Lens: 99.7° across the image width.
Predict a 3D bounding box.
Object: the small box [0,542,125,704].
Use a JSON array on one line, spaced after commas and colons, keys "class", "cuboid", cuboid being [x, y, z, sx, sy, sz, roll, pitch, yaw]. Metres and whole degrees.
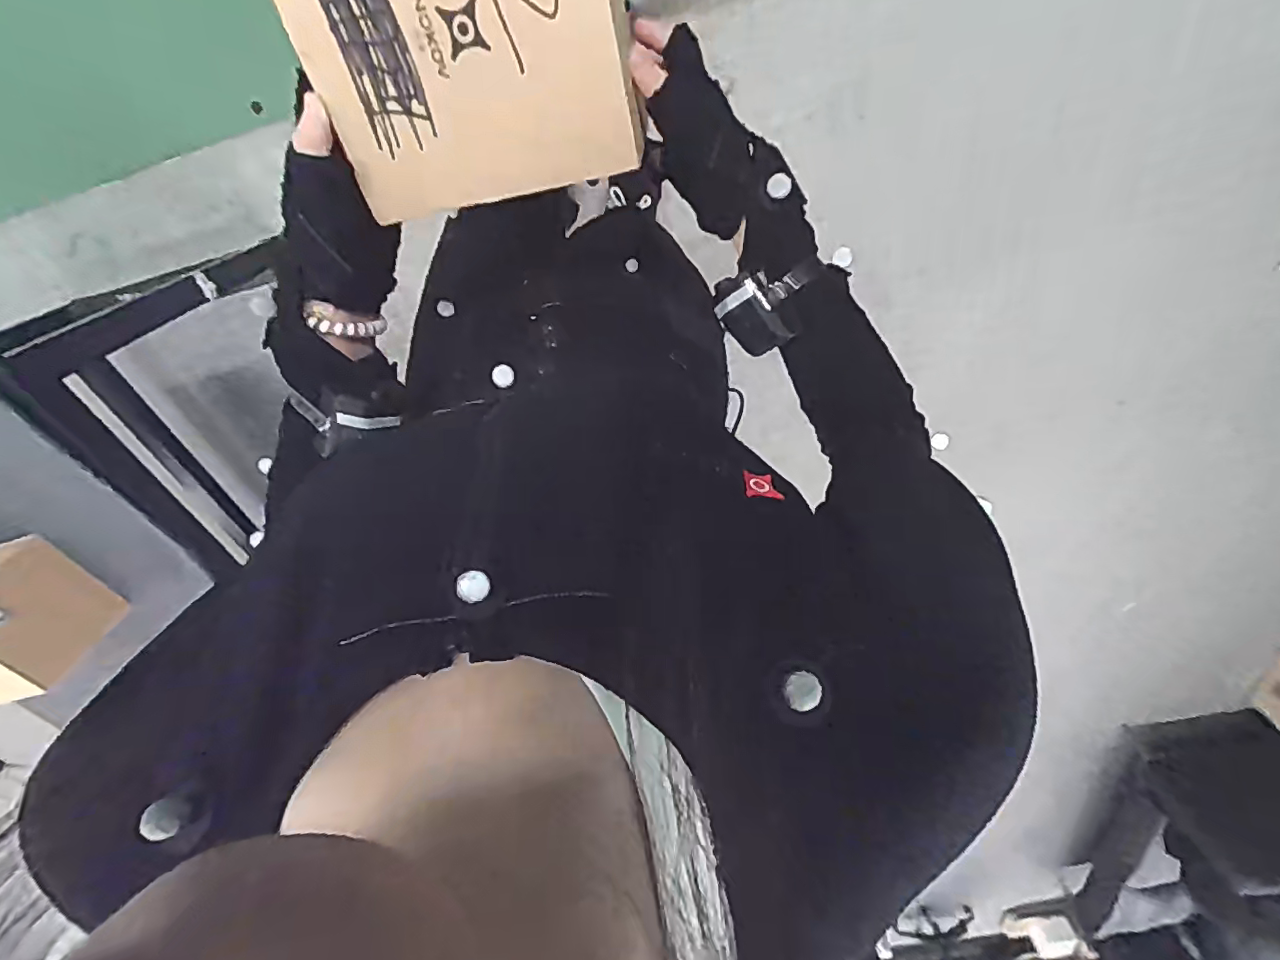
[{"class": "small box", "cuboid": [-0.956, 0.211, 0.806, 0.168, 0.176, 0.179, -15, 125, 8]}]
